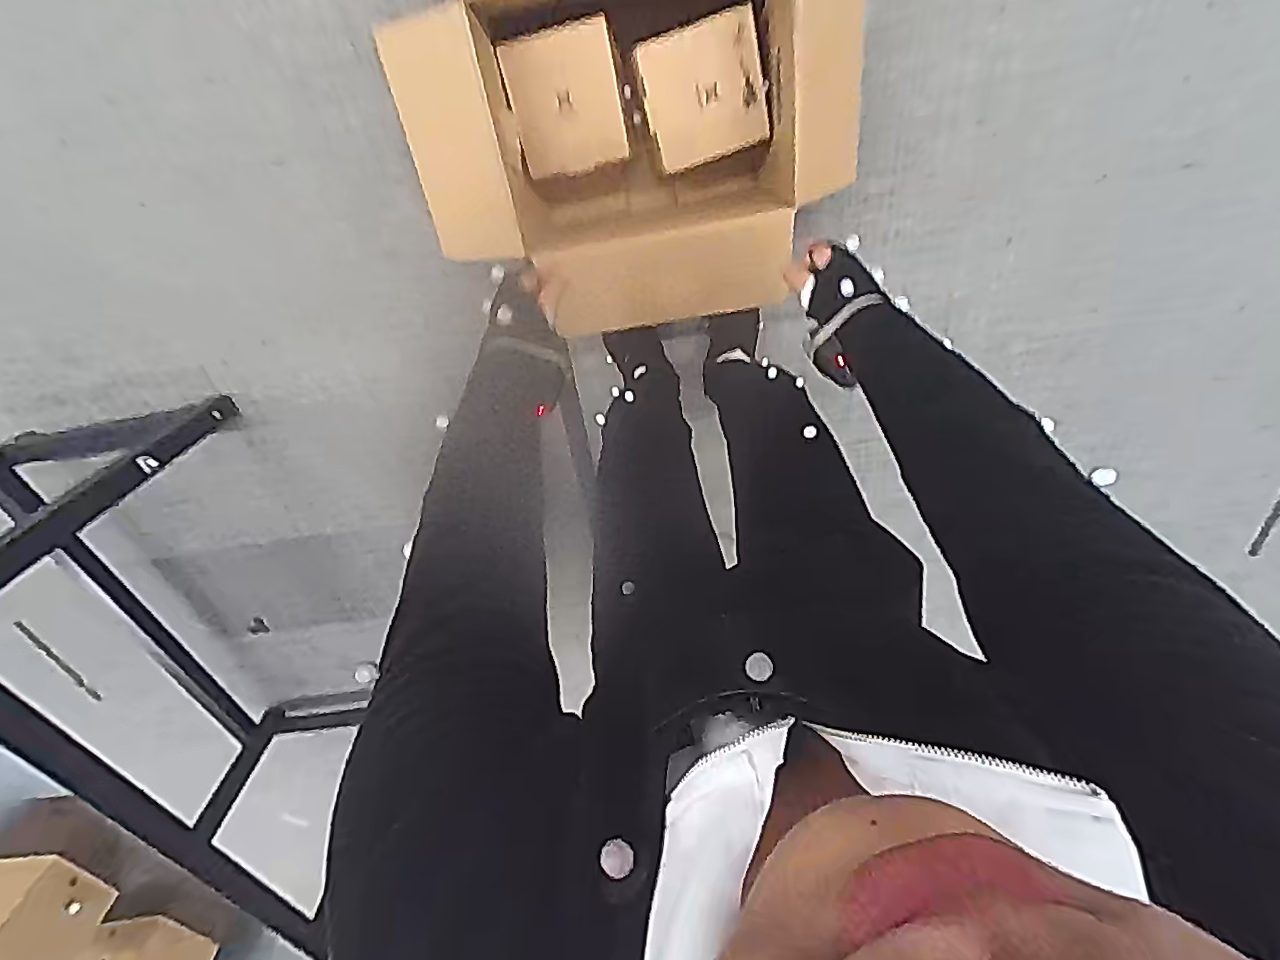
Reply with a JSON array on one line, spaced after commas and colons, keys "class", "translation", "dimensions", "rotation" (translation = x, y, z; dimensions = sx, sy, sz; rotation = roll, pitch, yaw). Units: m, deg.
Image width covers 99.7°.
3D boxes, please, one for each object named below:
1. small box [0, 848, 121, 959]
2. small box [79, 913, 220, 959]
[{"class": "small box", "translation": [-1.090, 0.772, 0.942], "dimensions": [0.179, 0.176, 0.168], "rotation": [-8, 123, 4]}, {"class": "small box", "translation": [-1.023, 1.008, 1.097], "dimensions": [0.168, 0.176, 0.179], "rotation": [-14, 123, 9]}]
